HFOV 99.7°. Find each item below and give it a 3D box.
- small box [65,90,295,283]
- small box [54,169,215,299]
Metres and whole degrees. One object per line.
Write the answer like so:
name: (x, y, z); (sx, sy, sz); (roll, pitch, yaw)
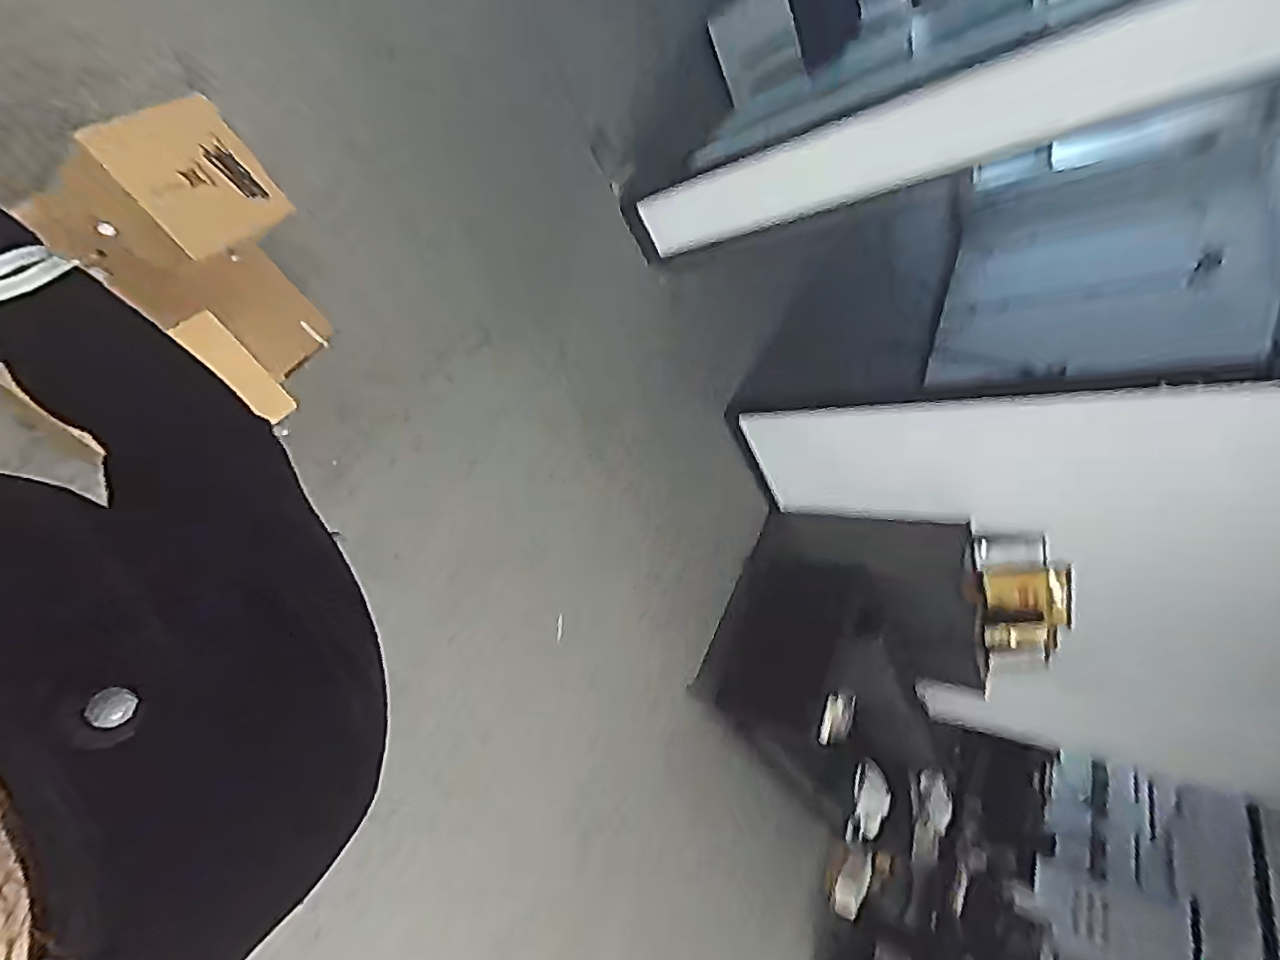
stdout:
small box: (-0.656, -0.412, 0.776); (0.168, 0.176, 0.179); (58, 47, -33)
small box: (-0.785, -0.424, 0.880); (0.168, 0.176, 0.179); (56, 48, -35)
